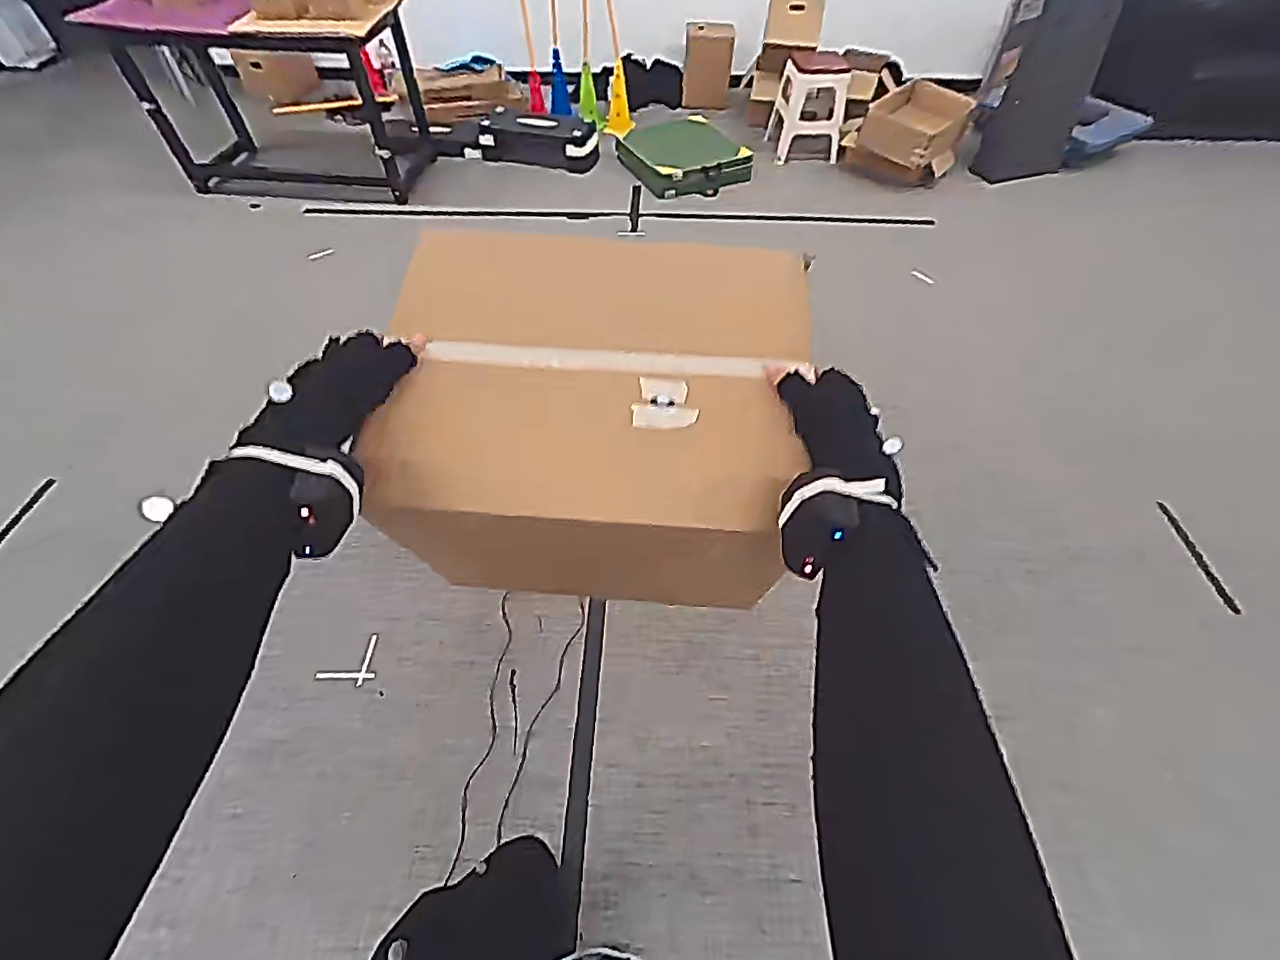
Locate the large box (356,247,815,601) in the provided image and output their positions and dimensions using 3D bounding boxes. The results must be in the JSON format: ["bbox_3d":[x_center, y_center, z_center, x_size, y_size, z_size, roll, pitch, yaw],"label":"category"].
[{"bbox_3d":[-0.044,-0.044,0.657,0.408,0.320,0.320,4,67,1],"label":"large box"}]
